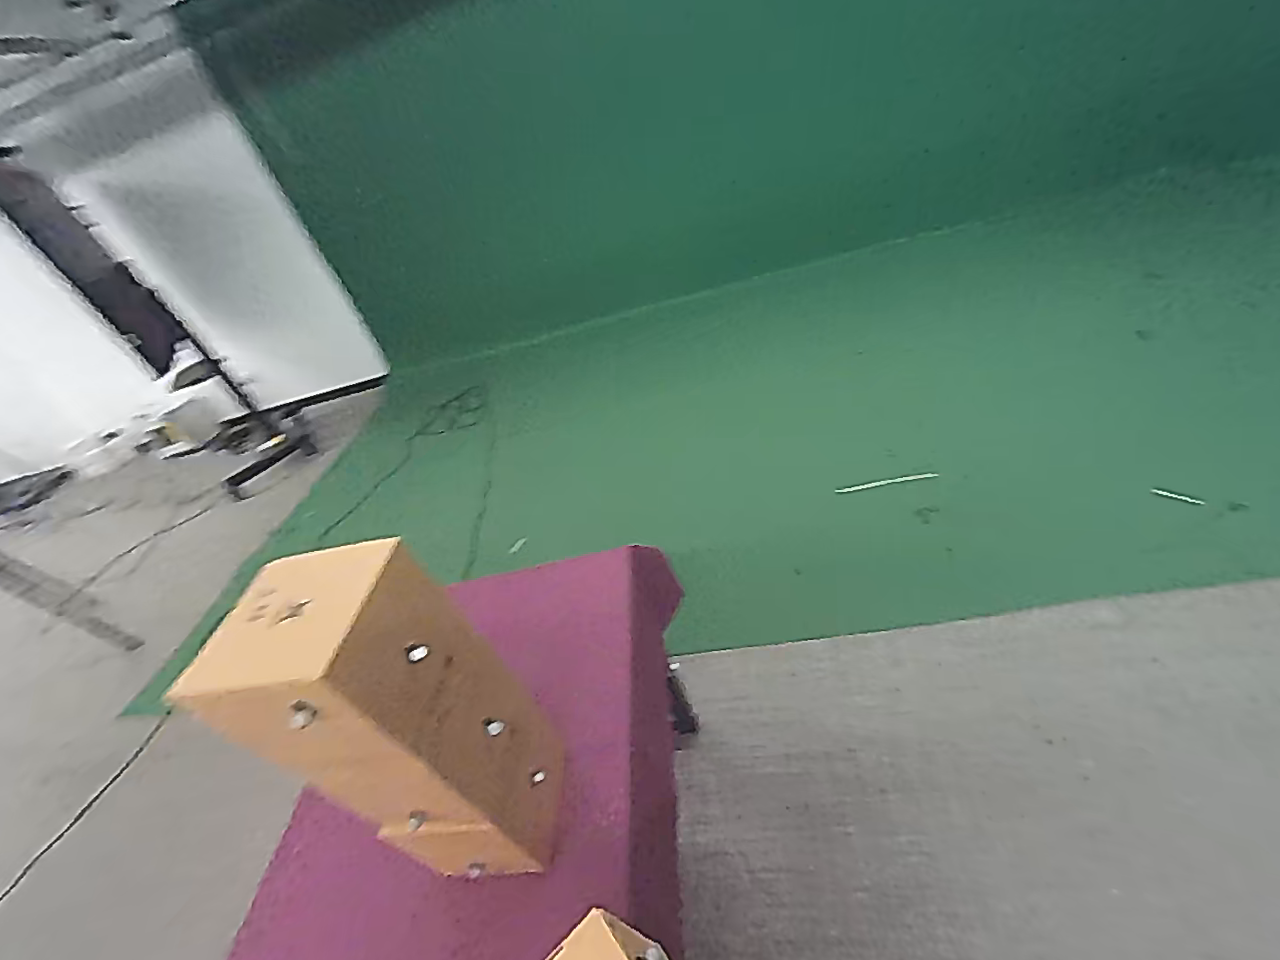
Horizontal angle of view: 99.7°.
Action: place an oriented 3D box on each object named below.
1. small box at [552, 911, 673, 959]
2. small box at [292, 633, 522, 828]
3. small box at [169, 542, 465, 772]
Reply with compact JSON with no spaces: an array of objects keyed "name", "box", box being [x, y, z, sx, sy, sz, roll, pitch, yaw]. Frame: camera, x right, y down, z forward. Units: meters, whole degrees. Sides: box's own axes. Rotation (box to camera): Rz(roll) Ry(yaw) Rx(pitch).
[{"name":"small box","box":[-0.012,0.435,0.345,0.168,0.176,0.179,-37,42,-18]},{"name":"small box","box":[-0.271,0.315,0.679,0.179,0.176,0.168,-9,38,14]},{"name":"small box","box":[-0.318,0.192,0.579,0.179,0.176,0.168,-11,38,14]}]
